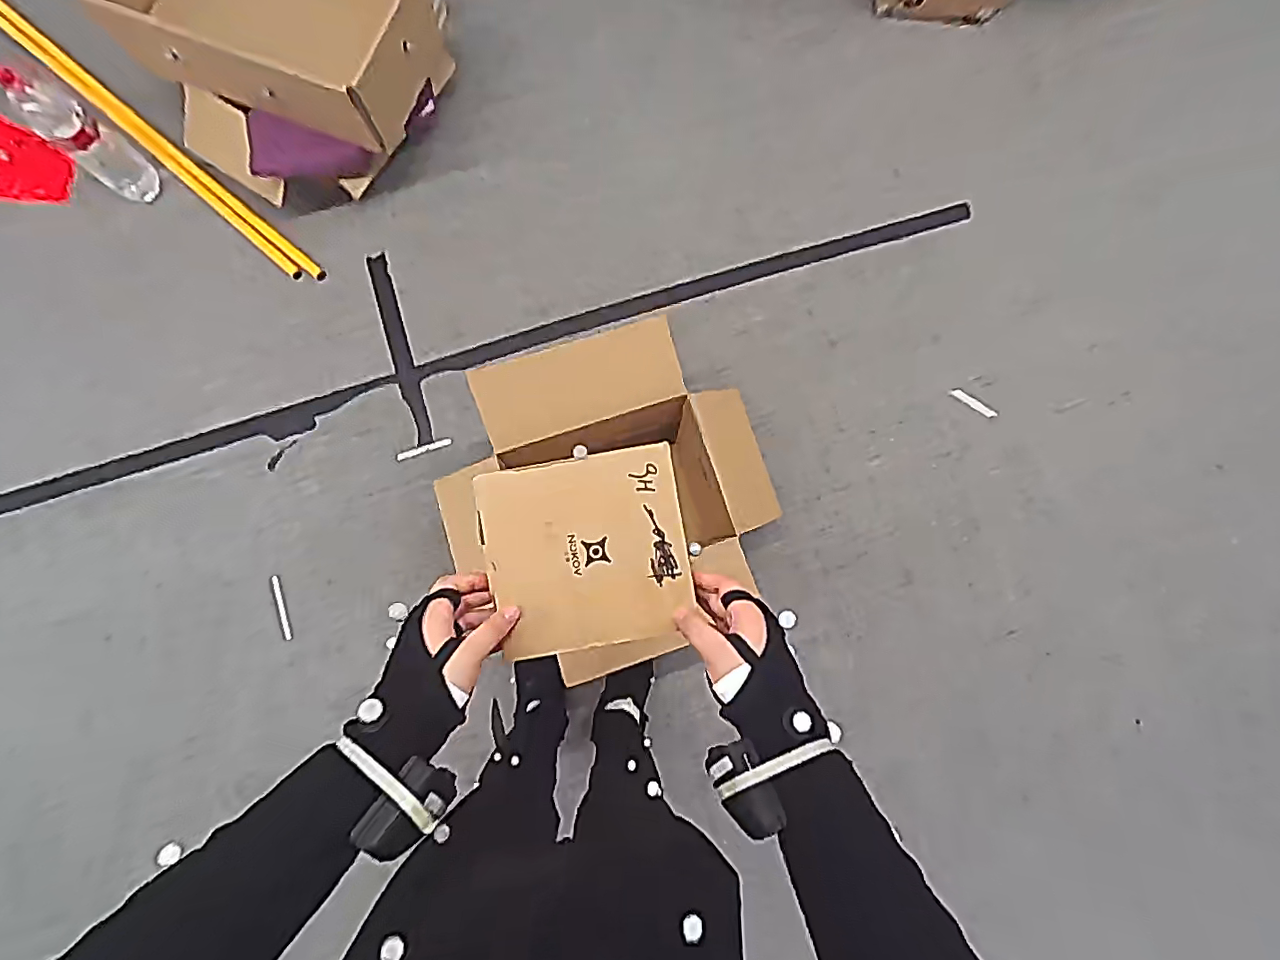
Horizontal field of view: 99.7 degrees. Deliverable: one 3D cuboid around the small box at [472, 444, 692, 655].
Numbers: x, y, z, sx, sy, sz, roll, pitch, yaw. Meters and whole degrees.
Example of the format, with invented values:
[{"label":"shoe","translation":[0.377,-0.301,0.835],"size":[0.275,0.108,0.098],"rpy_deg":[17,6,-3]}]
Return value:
[{"label":"small box","translation":[-0.050,0.062,0.557],"size":[0.179,0.176,0.168],"rpy_deg":[-10,91,0]}]
